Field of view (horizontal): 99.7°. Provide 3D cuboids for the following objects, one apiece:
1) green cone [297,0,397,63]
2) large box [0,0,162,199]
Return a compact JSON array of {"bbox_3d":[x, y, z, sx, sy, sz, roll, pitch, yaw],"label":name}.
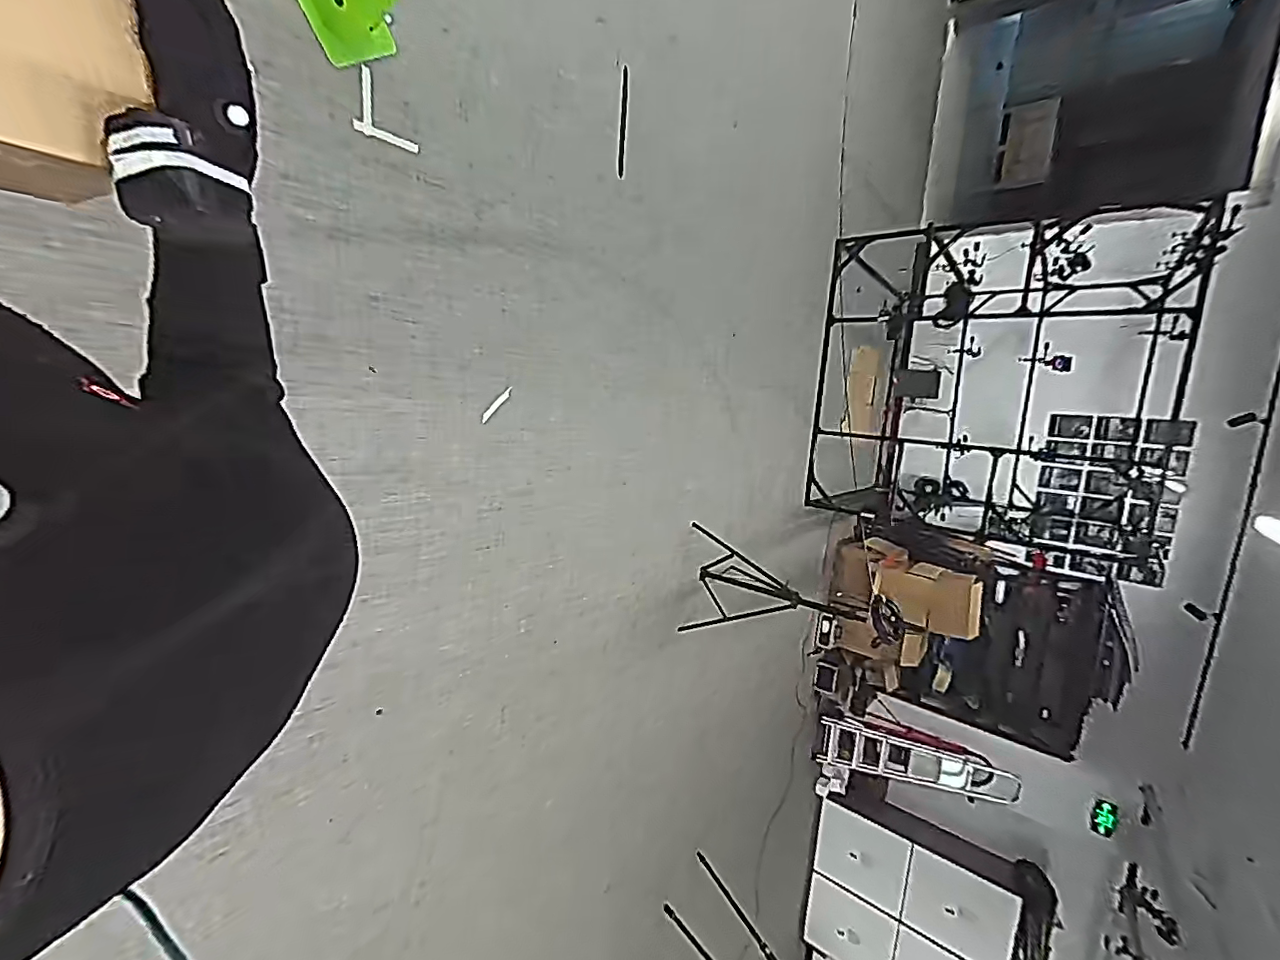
[{"bbox_3d":[-0.582,-1.110,1.199,0.202,0.368,0.200,-52,136,-34],"label":"green cone"},{"bbox_3d":[-0.584,-0.389,0.303,0.408,0.320,0.320,-10,112,-54],"label":"large box"}]
